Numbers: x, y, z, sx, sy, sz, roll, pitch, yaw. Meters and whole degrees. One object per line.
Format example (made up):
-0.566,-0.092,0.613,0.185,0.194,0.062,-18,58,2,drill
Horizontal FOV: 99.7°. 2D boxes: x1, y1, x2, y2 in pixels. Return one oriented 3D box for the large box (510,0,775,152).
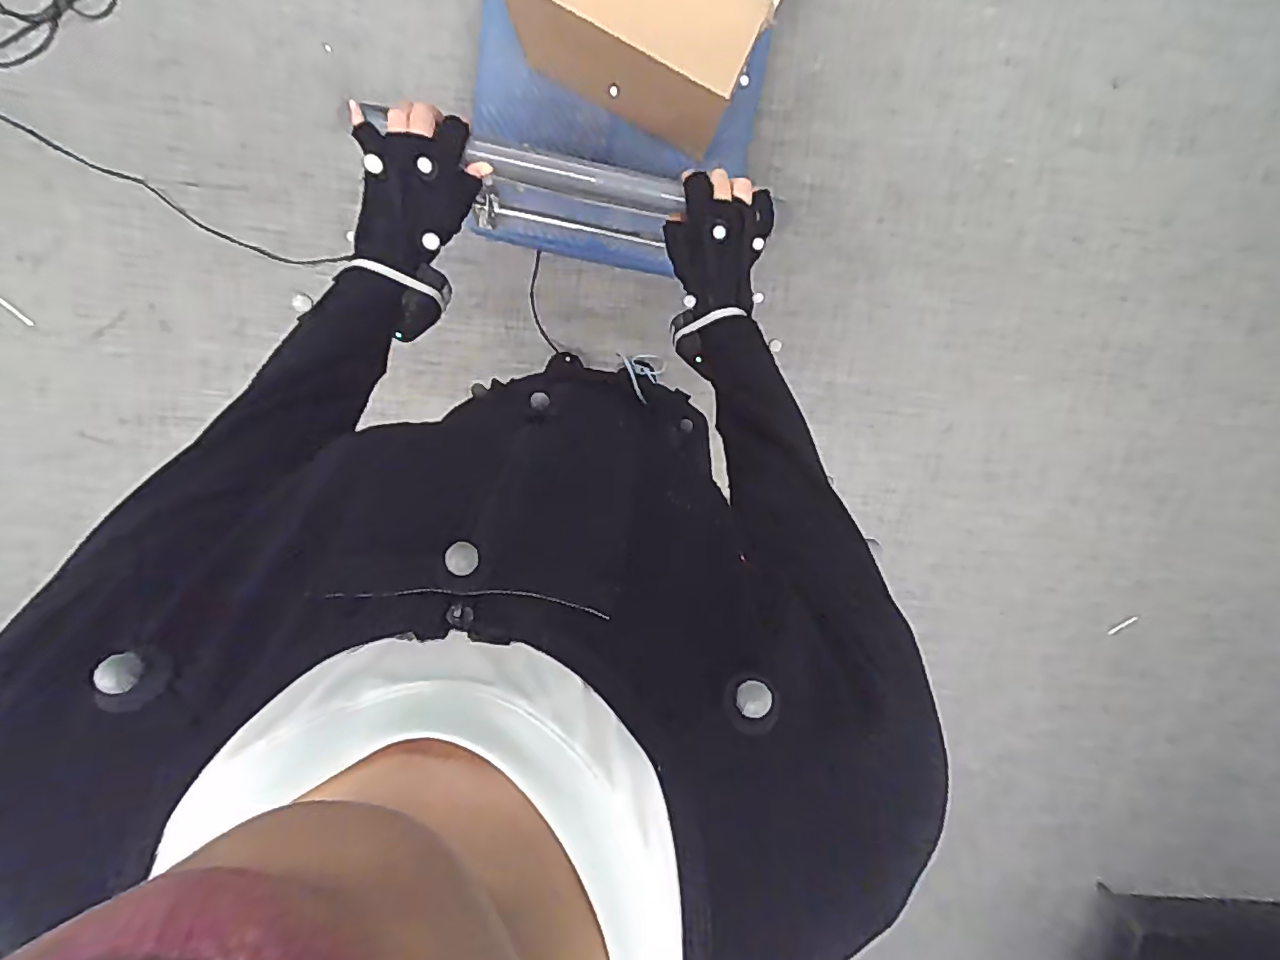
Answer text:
0.026,-0.864,0.952,0.408,0.320,0.320,25,103,-8,large box
